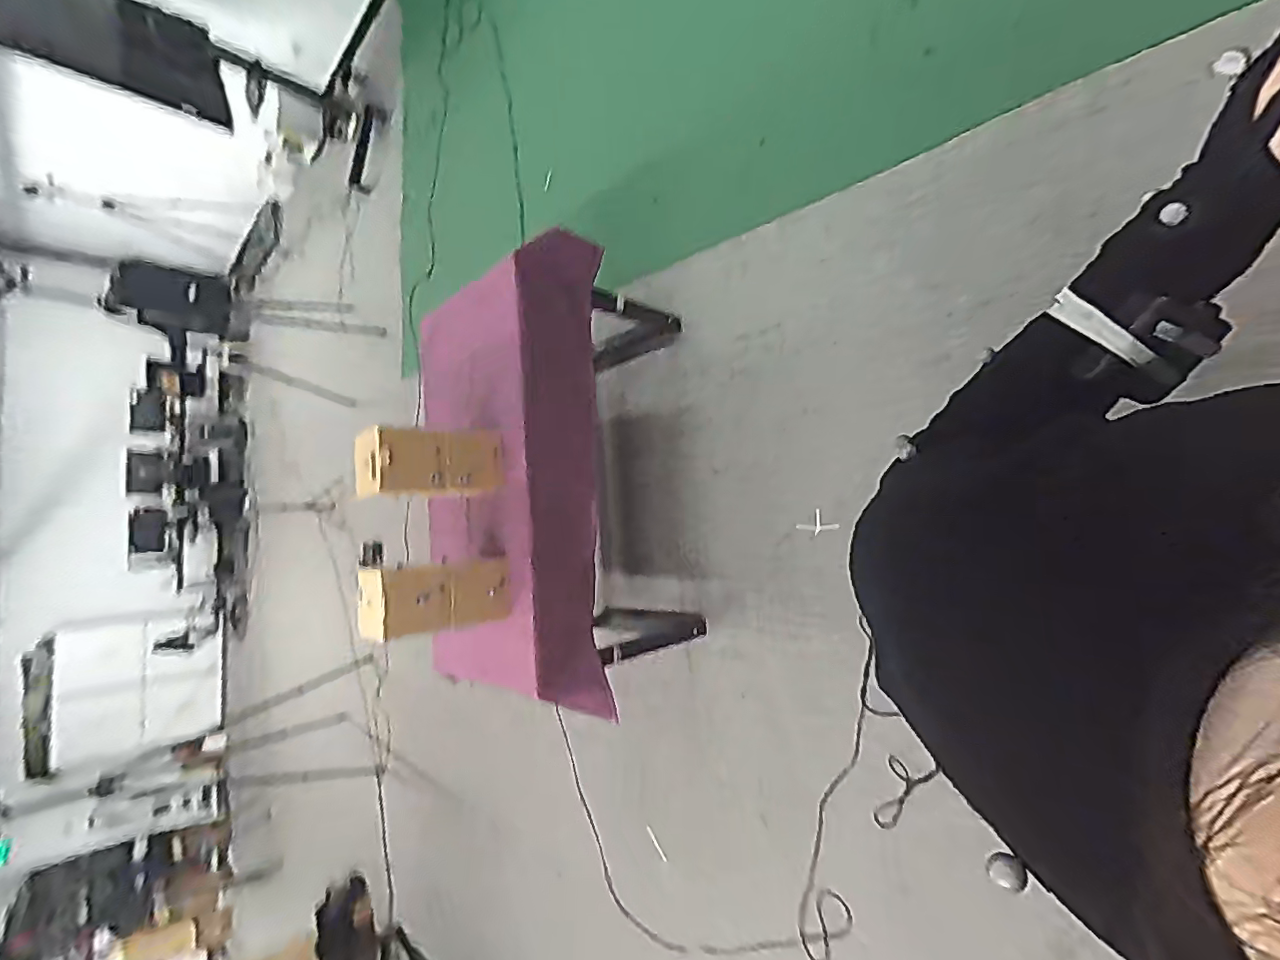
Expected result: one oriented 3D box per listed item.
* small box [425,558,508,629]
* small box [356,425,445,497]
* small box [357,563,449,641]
[{"bbox_3d":[-0.479,0.304,1.483,0.179,0.176,0.168,-7,84,44],"label":"small box"},{"bbox_3d":[-0.618,-0.045,1.402,0.179,0.176,0.168,-9,82,45],"label":"small box"},{"bbox_3d":[-0.597,0.300,1.368,0.179,0.176,0.168,-7,83,44],"label":"small box"}]
